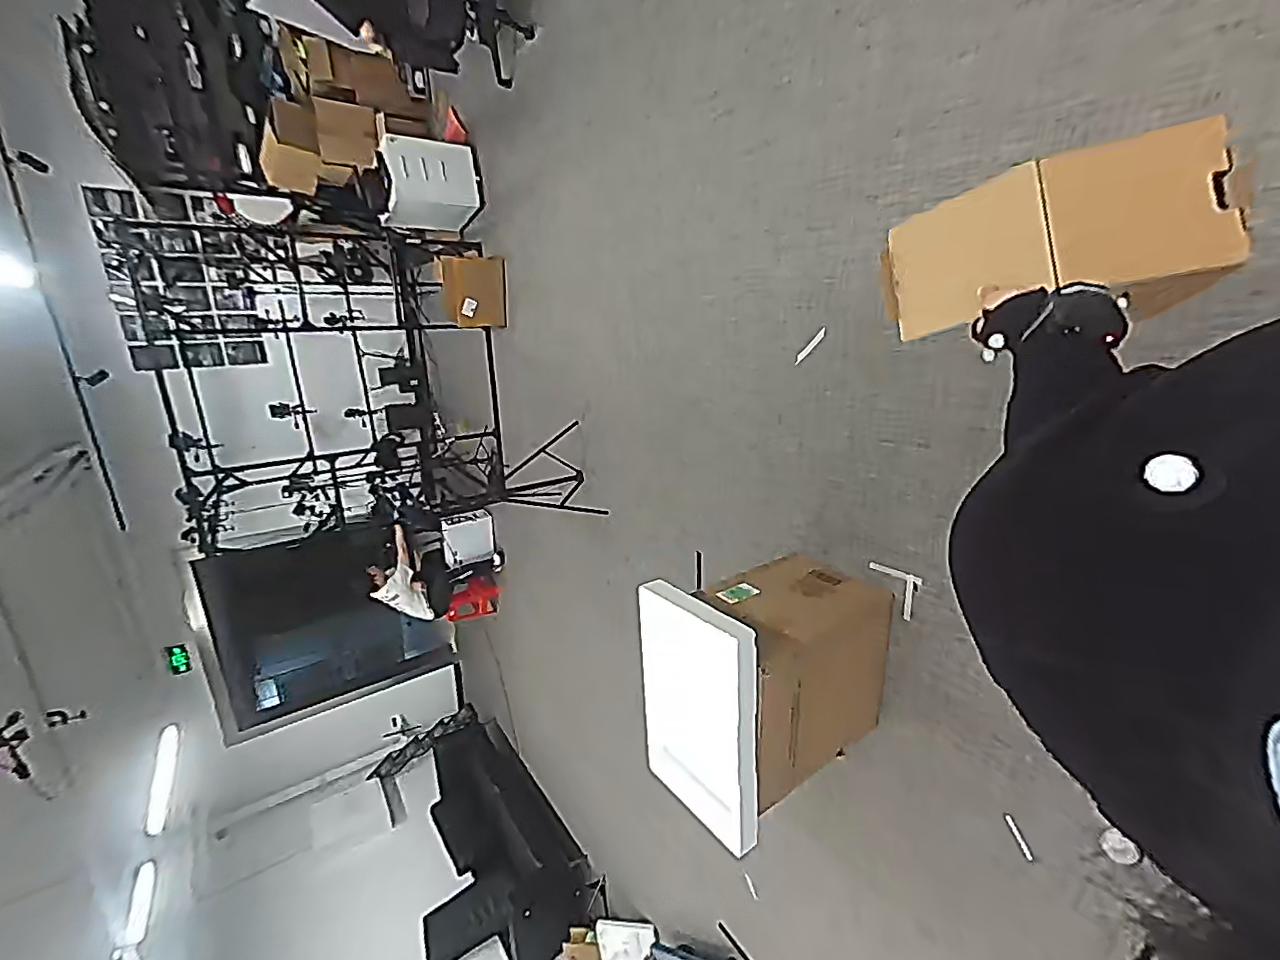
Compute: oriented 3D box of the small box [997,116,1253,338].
[{"bbox_3d":[0.561,-0.287,0.659,0.179,0.176,0.168,-6,84,17],"label":"small box"}]
